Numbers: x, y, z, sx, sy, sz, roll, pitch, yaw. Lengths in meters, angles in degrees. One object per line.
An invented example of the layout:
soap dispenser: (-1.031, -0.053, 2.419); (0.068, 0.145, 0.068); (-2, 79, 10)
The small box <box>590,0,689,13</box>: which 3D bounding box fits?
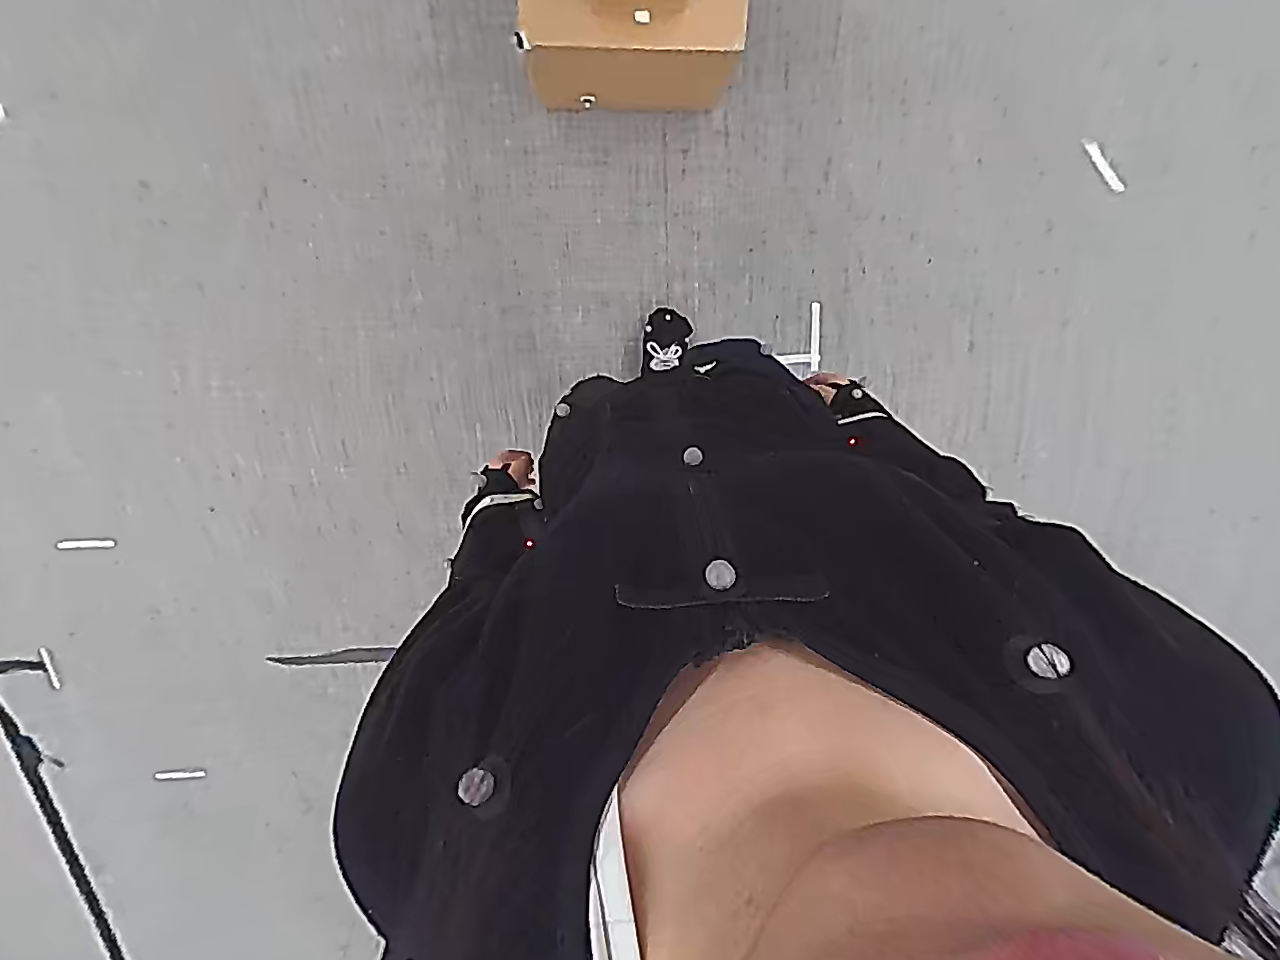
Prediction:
small box: (0.000, -0.874, 0.851); (0.179, 0.176, 0.168); (-3, 108, -2)
